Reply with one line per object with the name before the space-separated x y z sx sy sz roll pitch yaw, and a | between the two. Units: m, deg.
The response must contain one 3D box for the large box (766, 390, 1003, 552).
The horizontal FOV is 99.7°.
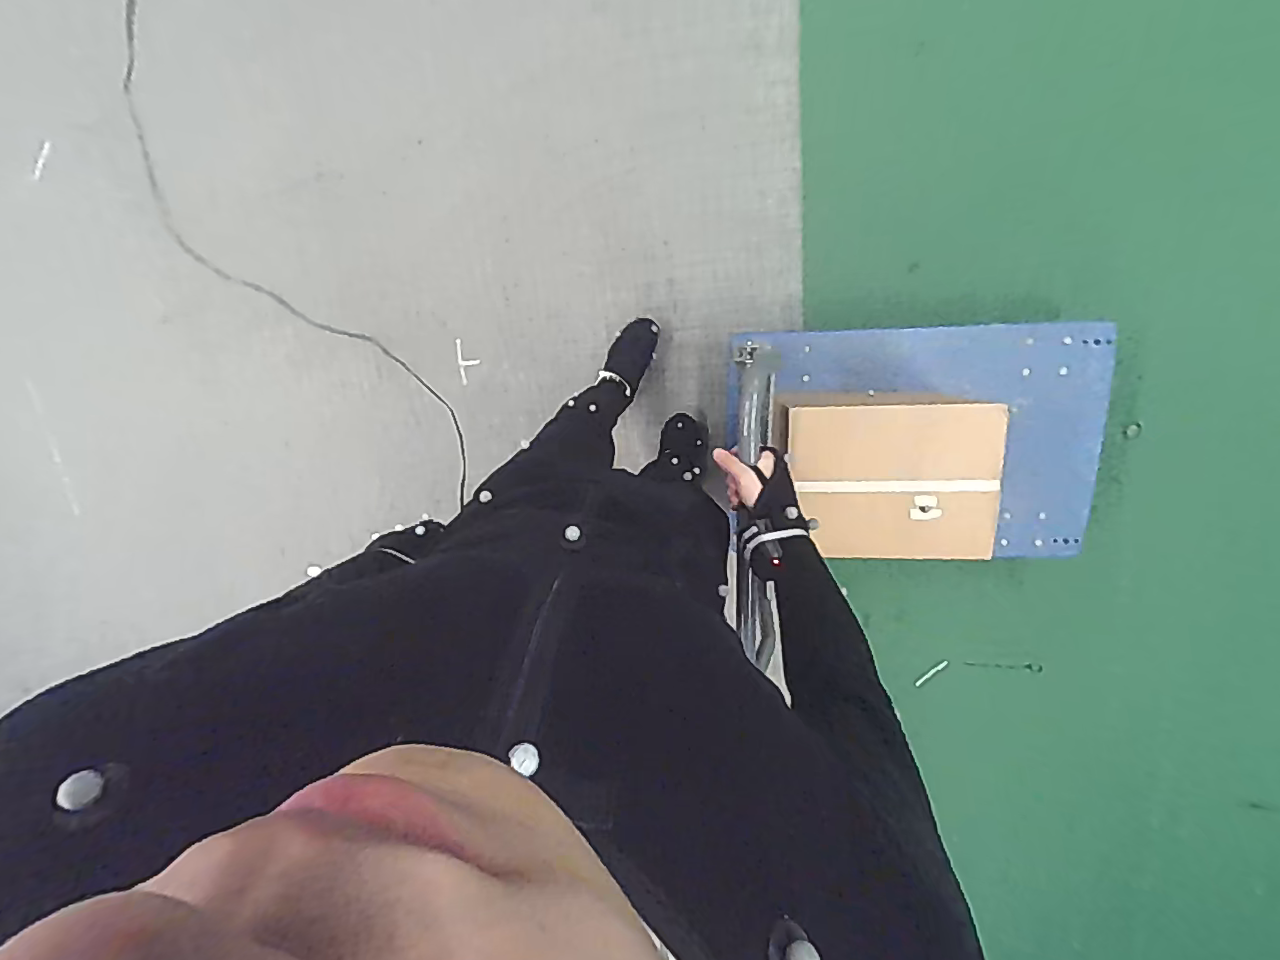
large box | 0.504 -0.036 1.215 0.408 0.320 0.320 0 104 6
